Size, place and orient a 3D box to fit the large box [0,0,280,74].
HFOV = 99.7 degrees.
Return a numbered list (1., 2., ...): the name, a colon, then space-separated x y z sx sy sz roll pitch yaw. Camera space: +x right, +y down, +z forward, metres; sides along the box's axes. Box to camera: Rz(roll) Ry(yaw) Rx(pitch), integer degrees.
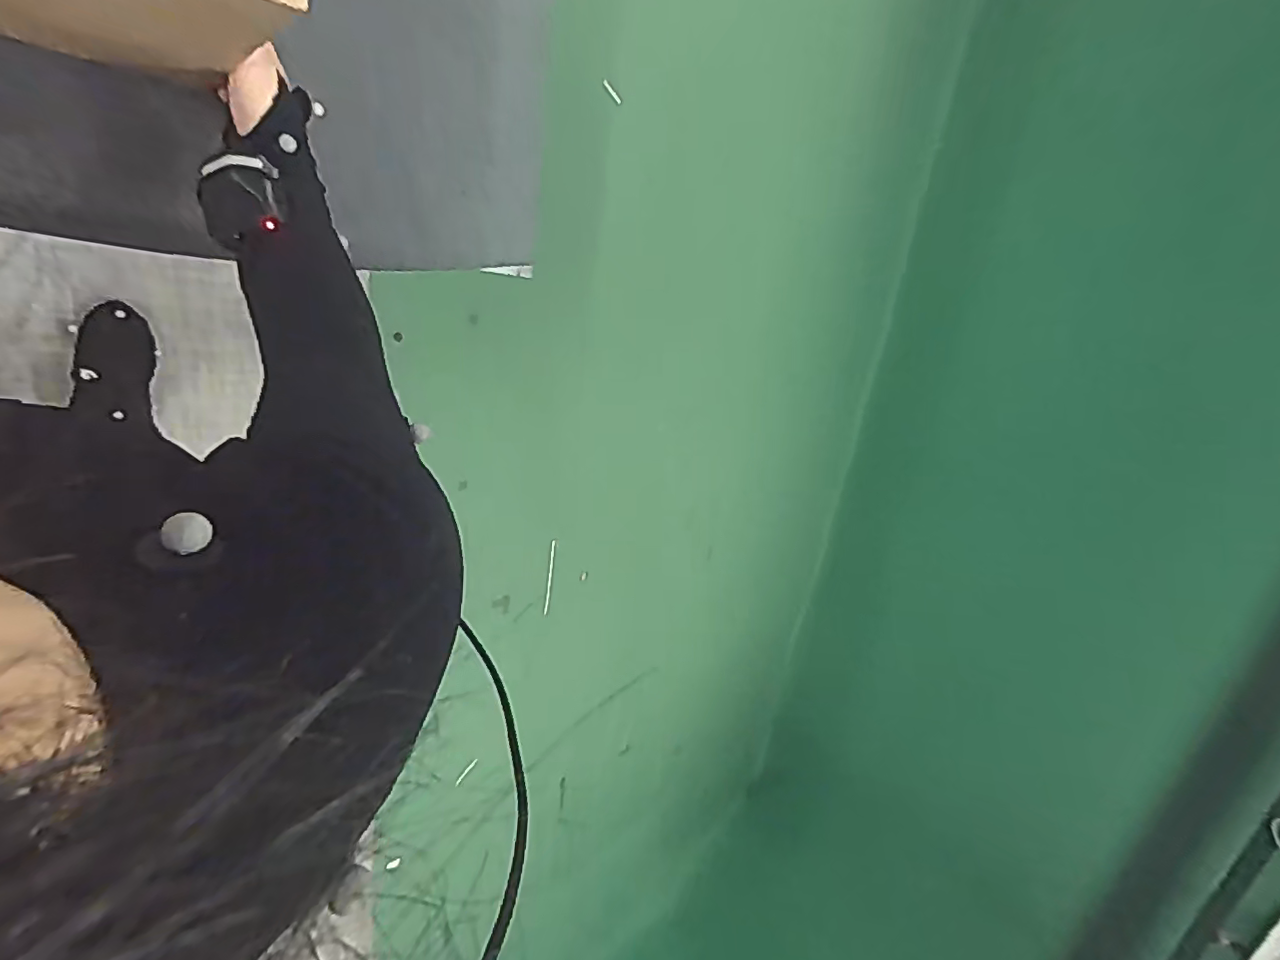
1. large box: -0.429 -0.441 0.227 0.408 0.320 0.320 -13 118 -45
